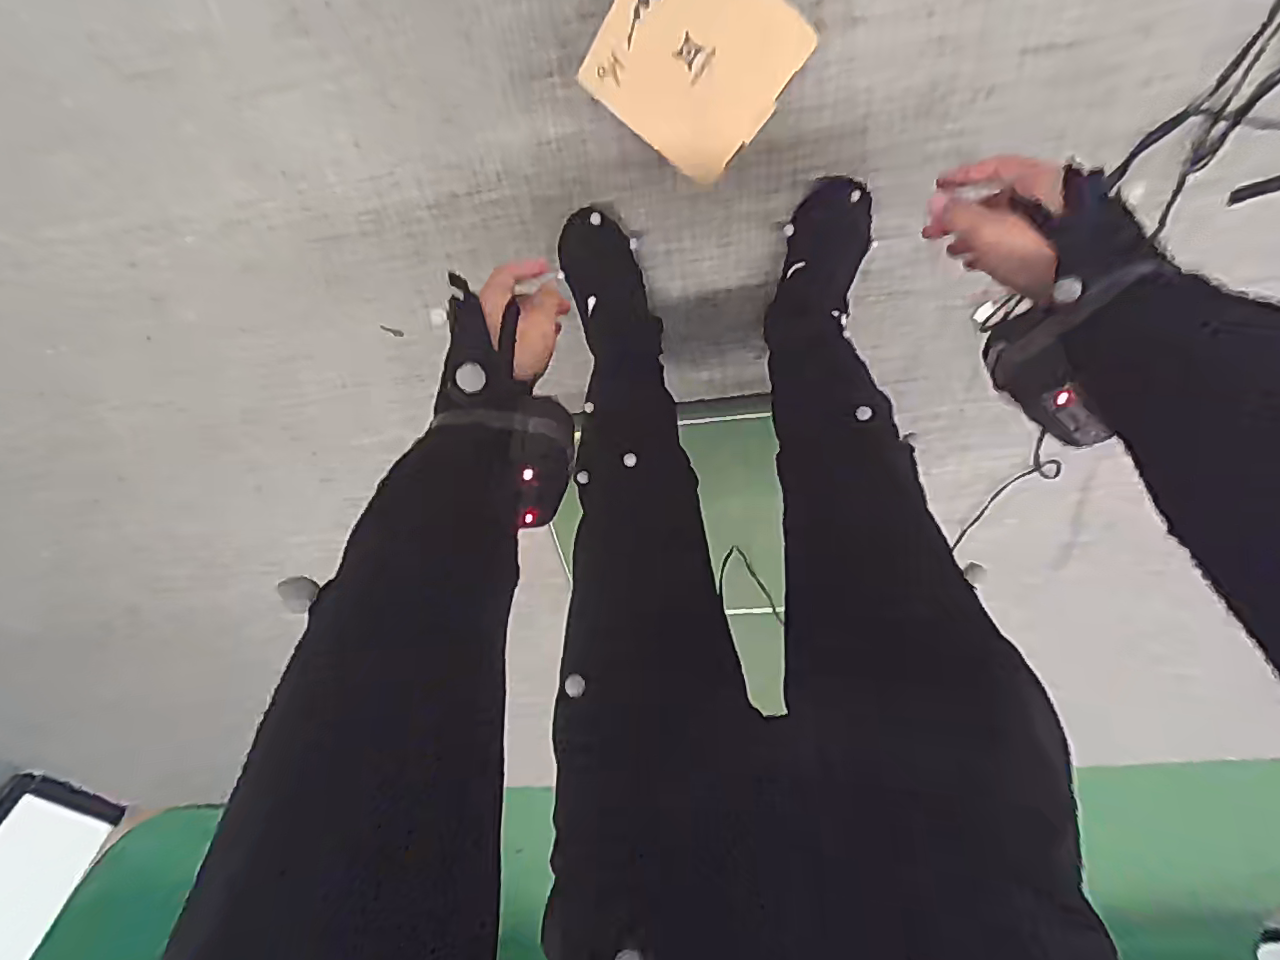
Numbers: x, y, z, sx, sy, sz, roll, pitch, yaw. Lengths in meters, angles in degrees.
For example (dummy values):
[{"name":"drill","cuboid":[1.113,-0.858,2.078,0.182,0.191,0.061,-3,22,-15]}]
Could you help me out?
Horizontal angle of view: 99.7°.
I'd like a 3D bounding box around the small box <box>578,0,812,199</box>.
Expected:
[{"name":"small box","cuboid":[0.055,-0.455,0.593,0.179,0.176,0.168,29,127,-22]}]
